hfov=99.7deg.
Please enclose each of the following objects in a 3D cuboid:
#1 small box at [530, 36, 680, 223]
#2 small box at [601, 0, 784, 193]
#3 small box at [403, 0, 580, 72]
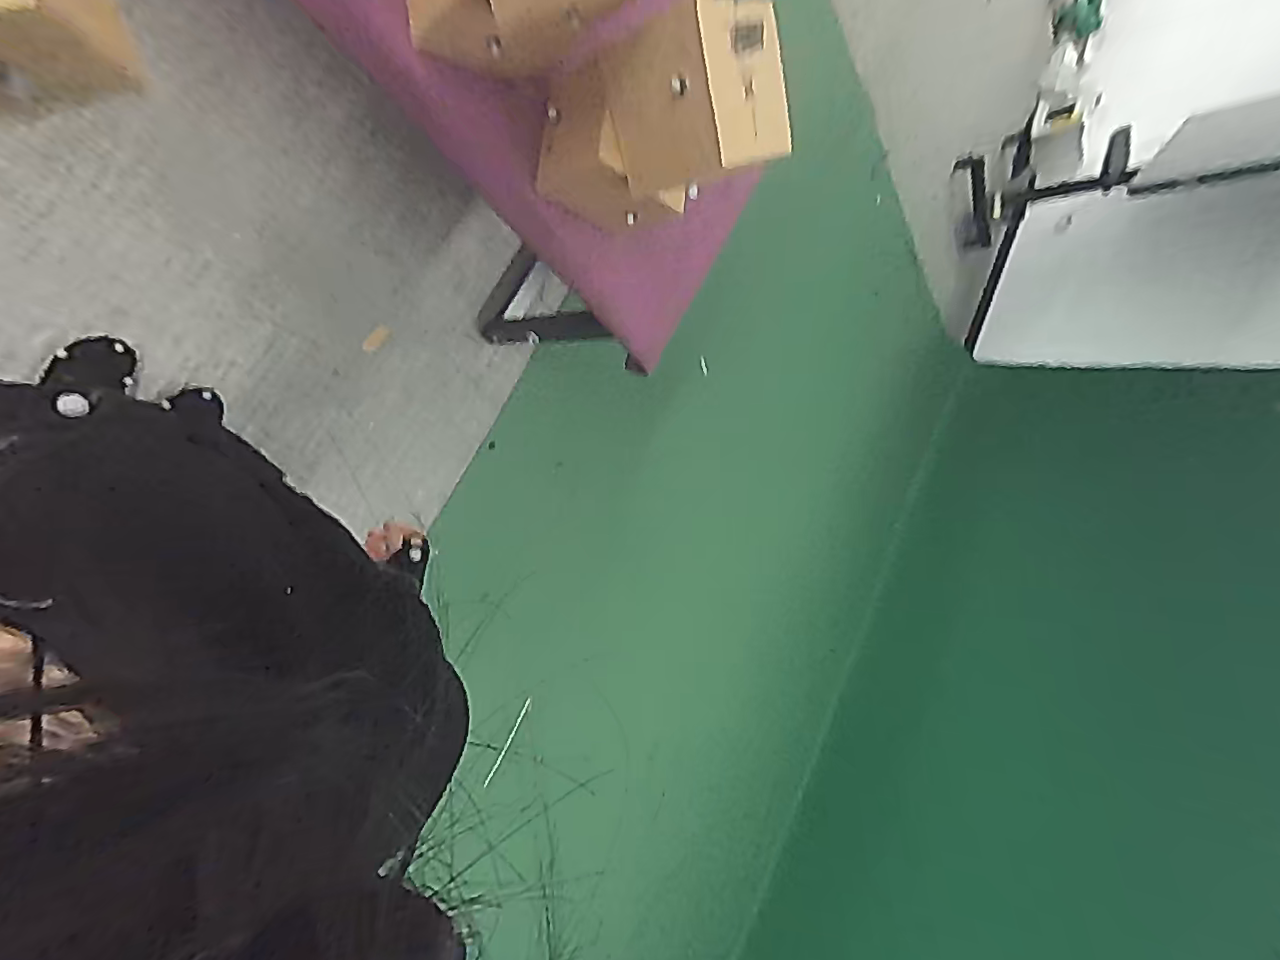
[{"bbox_3d":[-0.045,-0.525,0.847,0.179,0.176,0.168,8,92,-44],"label":"small box"},{"bbox_3d":[0.070,-0.513,0.732,0.168,0.176,0.179,-34,120,-35],"label":"small box"},{"bbox_3d":[-0.192,-0.656,0.676,0.168,0.176,0.179,-14,108,-42],"label":"small box"}]
